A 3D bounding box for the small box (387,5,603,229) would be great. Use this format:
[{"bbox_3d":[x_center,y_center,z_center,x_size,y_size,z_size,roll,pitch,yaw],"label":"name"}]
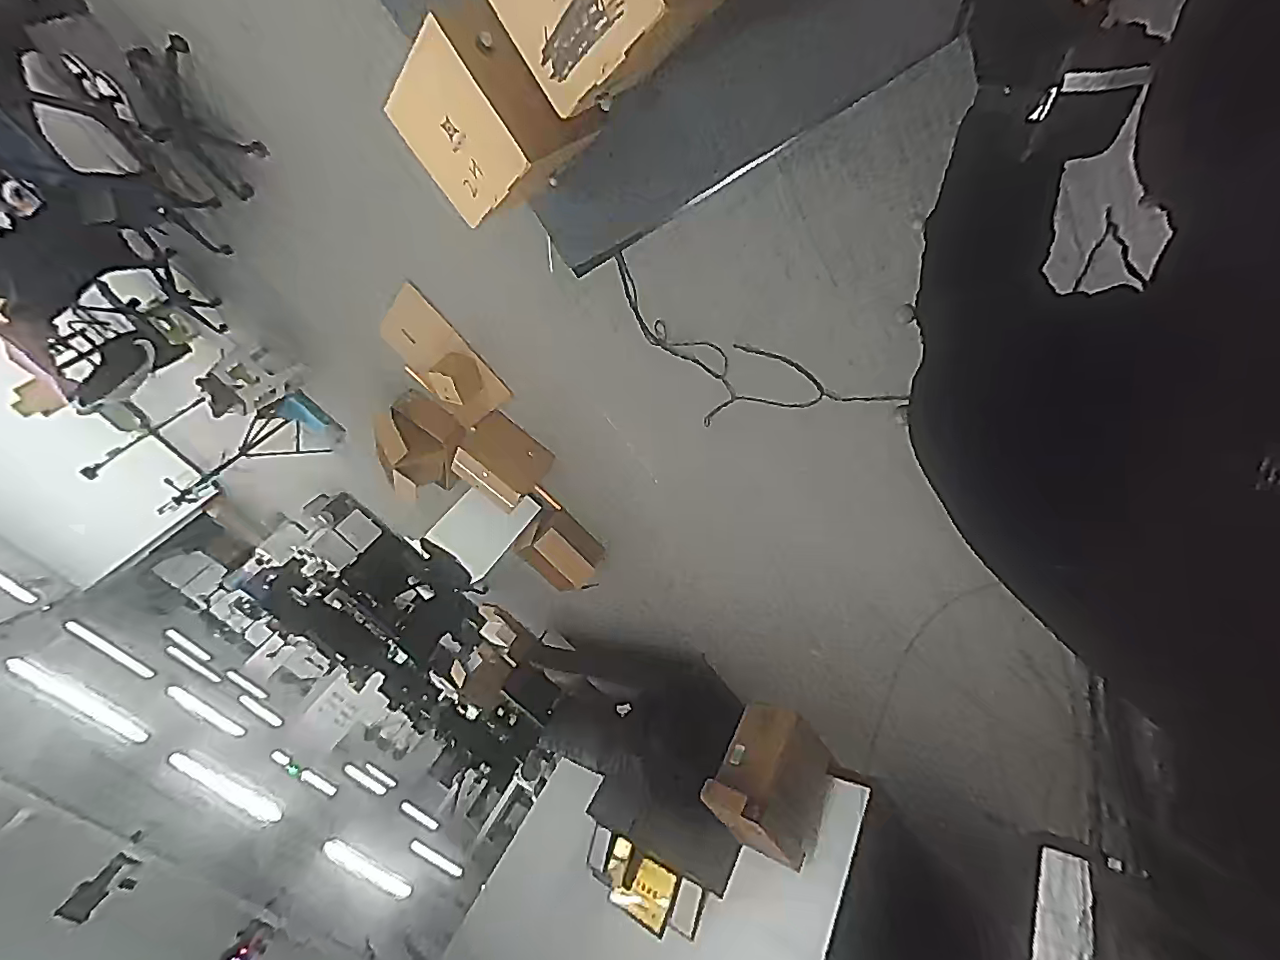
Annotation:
[{"bbox_3d":[-0.185,-0.476,0.712,0.168,0.176,0.179,-12,123,48],"label":"small box"}]
